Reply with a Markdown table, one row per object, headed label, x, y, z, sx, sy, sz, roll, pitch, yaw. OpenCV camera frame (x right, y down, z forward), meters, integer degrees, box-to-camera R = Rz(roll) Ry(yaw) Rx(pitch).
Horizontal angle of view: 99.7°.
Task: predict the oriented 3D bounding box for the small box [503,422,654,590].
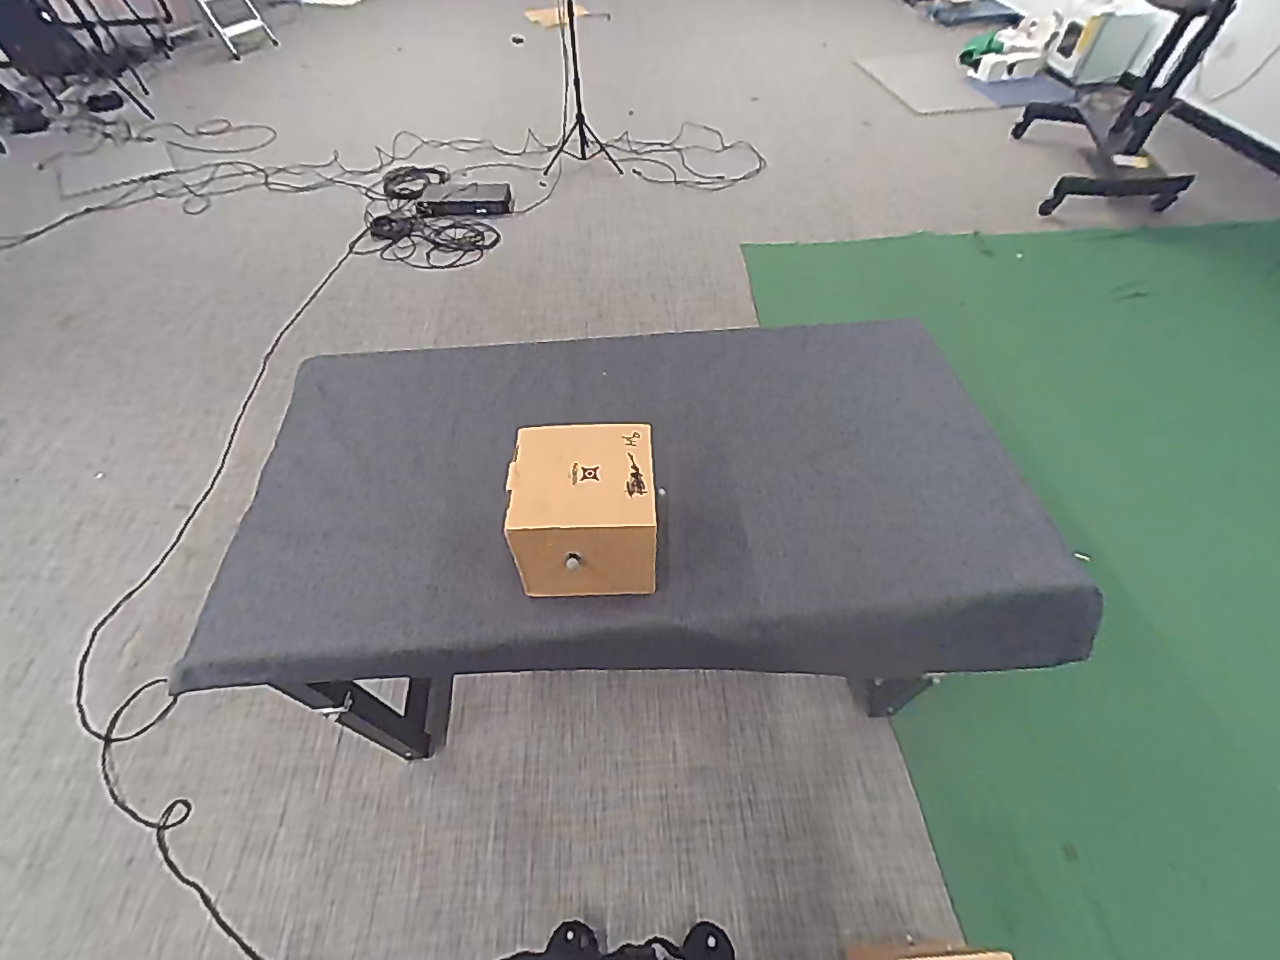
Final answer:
| label | x | y | z | sx | sy | sz | roll | pitch | yaw |
| --- | --- | --- | --- | --- | --- | --- | --- | --- | --- |
| small box | -0.071 | 0.040 | 0.730 | 0.179 | 0.176 | 0.168 | -1 | 52 | 0 |

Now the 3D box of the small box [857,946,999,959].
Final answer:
| label | x | y | z | sx | sy | sz | roll | pitch | yaw |
| --- | --- | --- | --- | --- | --- | --- | --- | --- | --- |
| small box | 0.459 | 0.833 | 0.833 | 0.179 | 0.176 | 0.168 | -2 | 51 | 0 |

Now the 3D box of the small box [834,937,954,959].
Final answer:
| label | x | y | z | sx | sy | sz | roll | pitch | yaw |
| --- | --- | --- | --- | --- | --- | --- | --- | --- | --- |
| small box | 0.472 | 0.932 | 0.964 | 0.179 | 0.176 | 0.168 | -5 | 51 | -2 |
